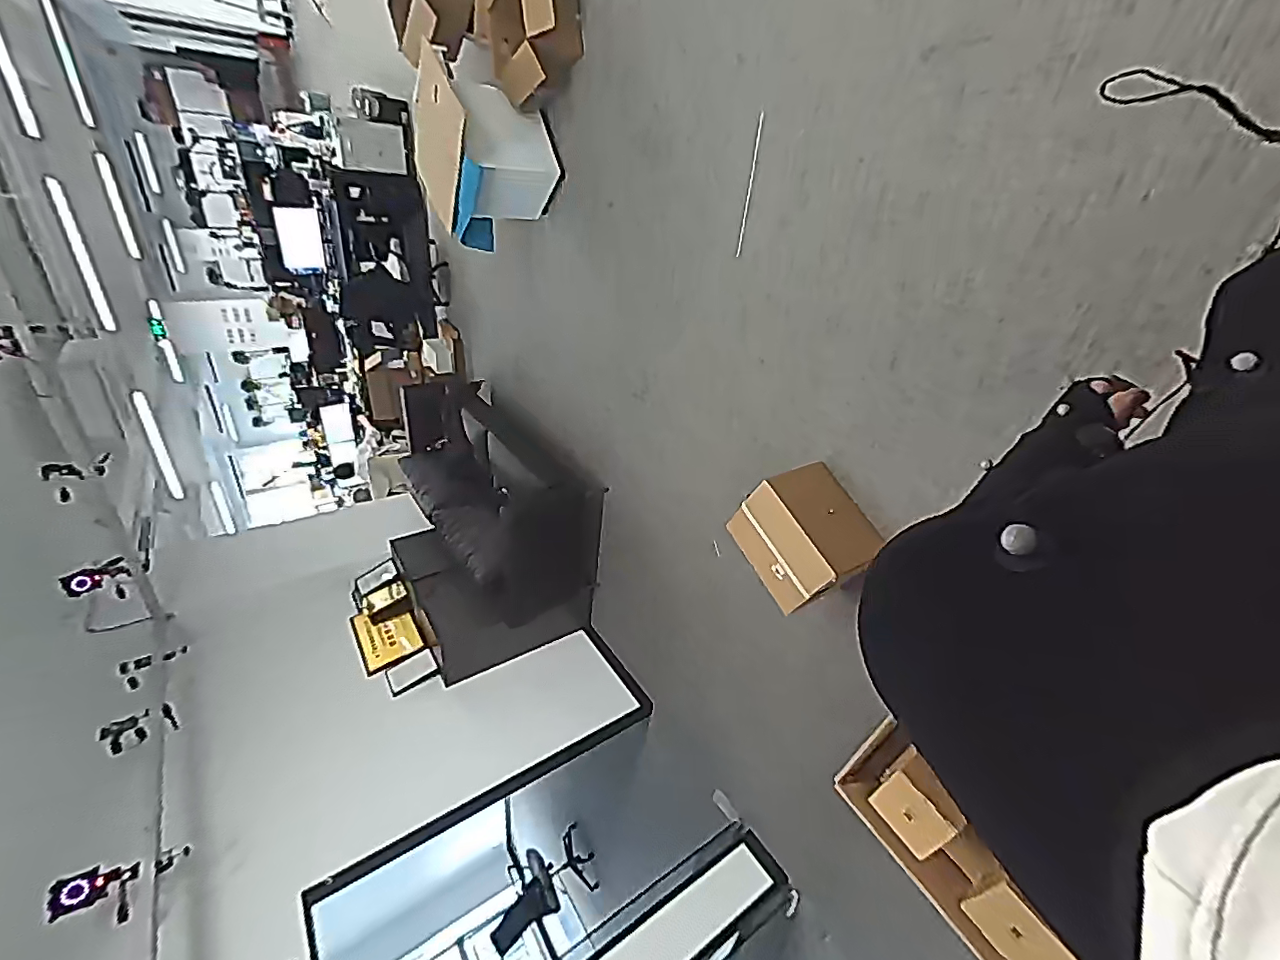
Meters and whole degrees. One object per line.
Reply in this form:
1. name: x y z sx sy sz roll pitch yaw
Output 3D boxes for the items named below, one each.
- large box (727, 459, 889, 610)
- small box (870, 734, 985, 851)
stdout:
1. large box: 0.602 0.189 1.980 0.408 0.320 0.320 57 144 23
2. small box: 0.736 0.795 1.384 0.168 0.176 0.179 47 137 36
